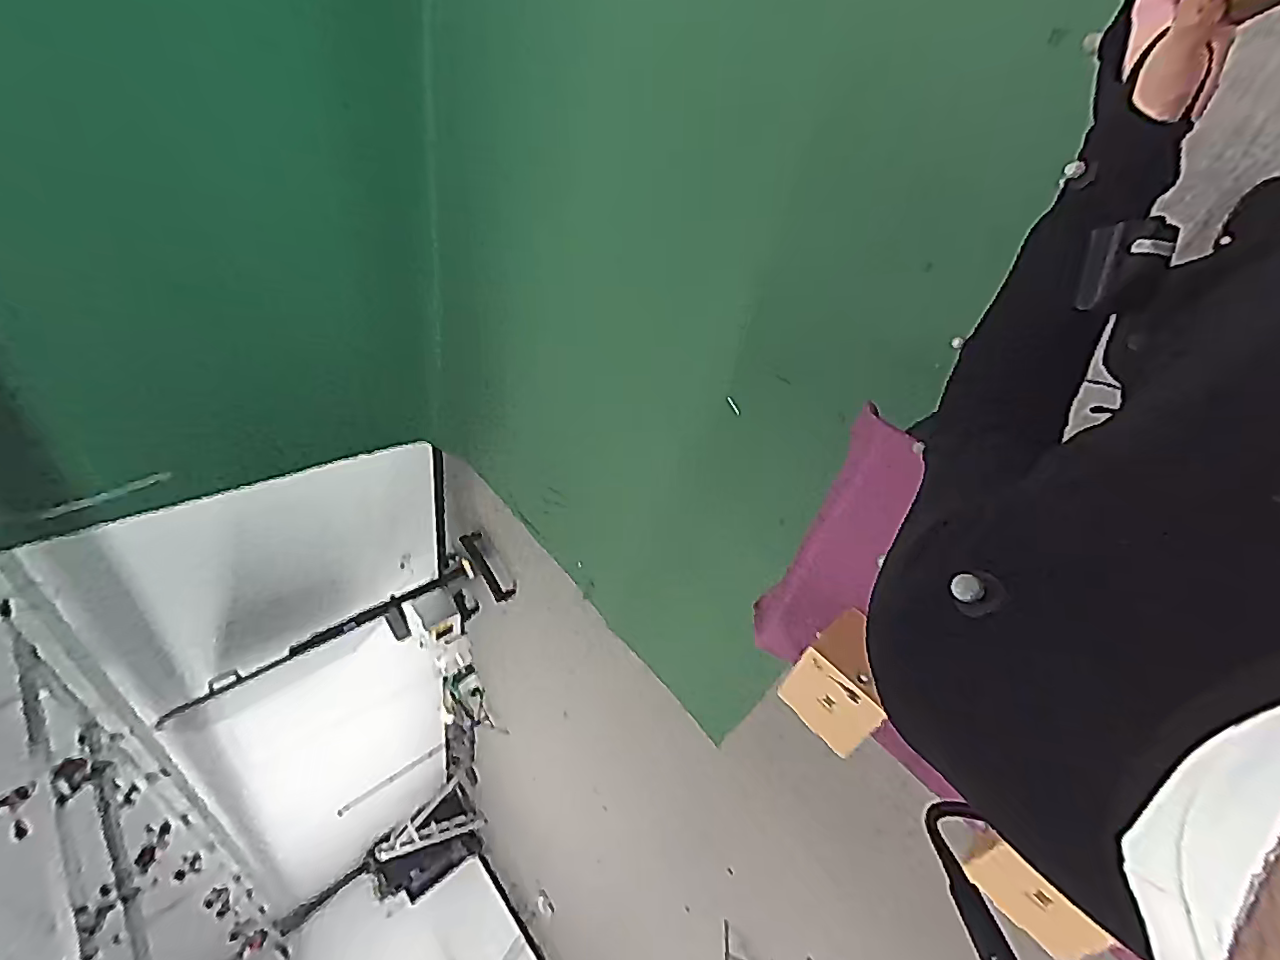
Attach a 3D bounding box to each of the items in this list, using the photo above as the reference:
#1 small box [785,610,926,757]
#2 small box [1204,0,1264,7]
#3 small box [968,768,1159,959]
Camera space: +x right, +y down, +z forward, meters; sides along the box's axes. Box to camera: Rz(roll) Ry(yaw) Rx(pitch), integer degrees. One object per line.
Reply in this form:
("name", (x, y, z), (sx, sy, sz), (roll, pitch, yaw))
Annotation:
("small box", (0.423, 0.392, 1.061), (0.168, 0.176, 0.179), (41, 135, 29))
("small box", (0.381, -0.373, 0.257), (0.168, 0.176, 0.179), (-6, 109, 50))
("small box", (0.678, 0.612, 0.867), (0.168, 0.176, 0.179), (40, 134, 30))
